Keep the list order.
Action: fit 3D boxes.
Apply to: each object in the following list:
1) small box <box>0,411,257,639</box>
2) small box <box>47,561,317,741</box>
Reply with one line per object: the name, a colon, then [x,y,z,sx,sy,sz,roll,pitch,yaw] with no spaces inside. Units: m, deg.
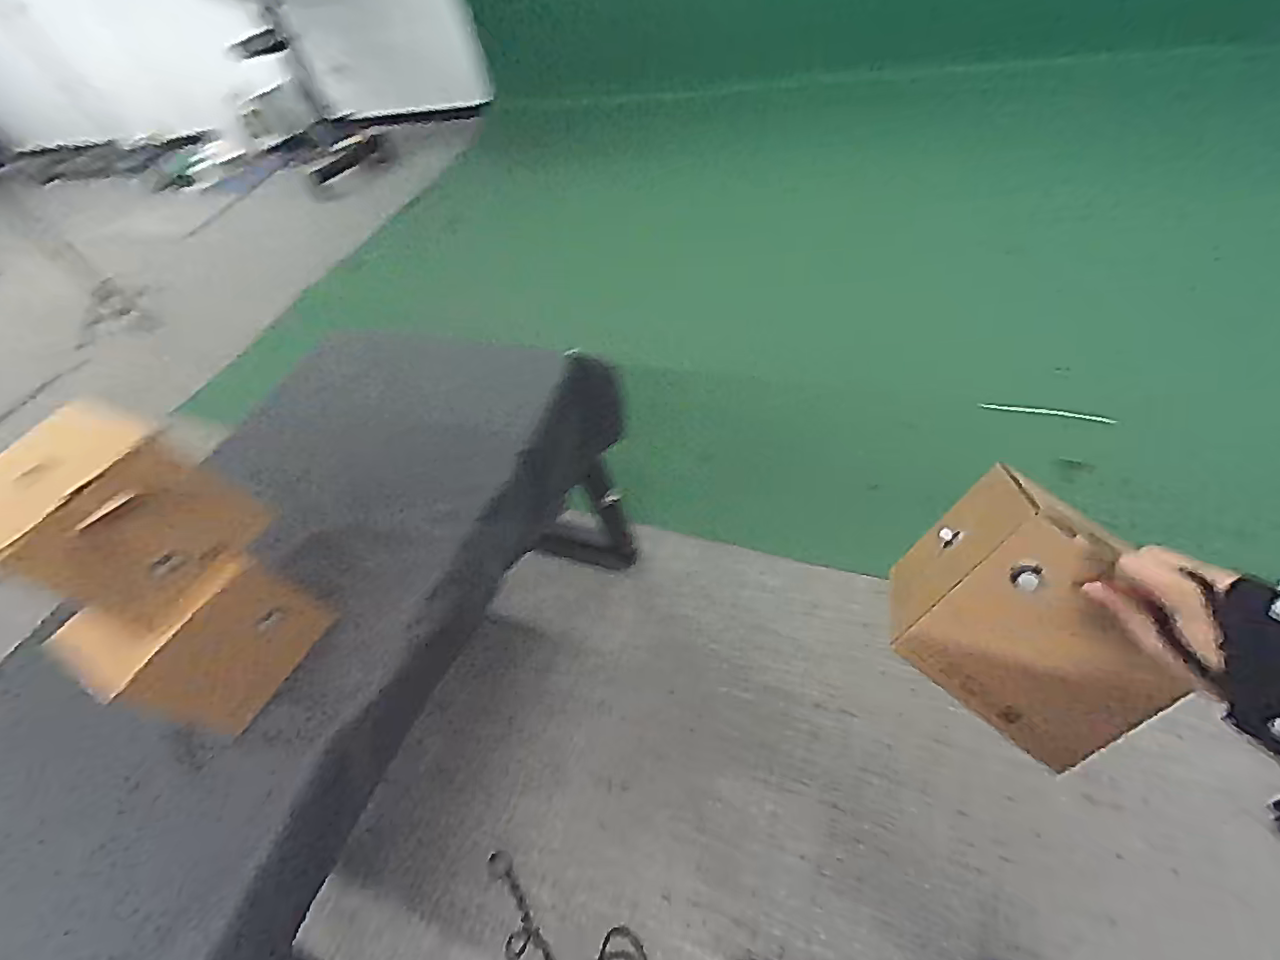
small box: [-0.586,0.051,0.595,0.179,0.176,0.168,15,58,24]
small box: [-0.552,0.196,0.683,0.168,0.176,0.179,16,59,26]
